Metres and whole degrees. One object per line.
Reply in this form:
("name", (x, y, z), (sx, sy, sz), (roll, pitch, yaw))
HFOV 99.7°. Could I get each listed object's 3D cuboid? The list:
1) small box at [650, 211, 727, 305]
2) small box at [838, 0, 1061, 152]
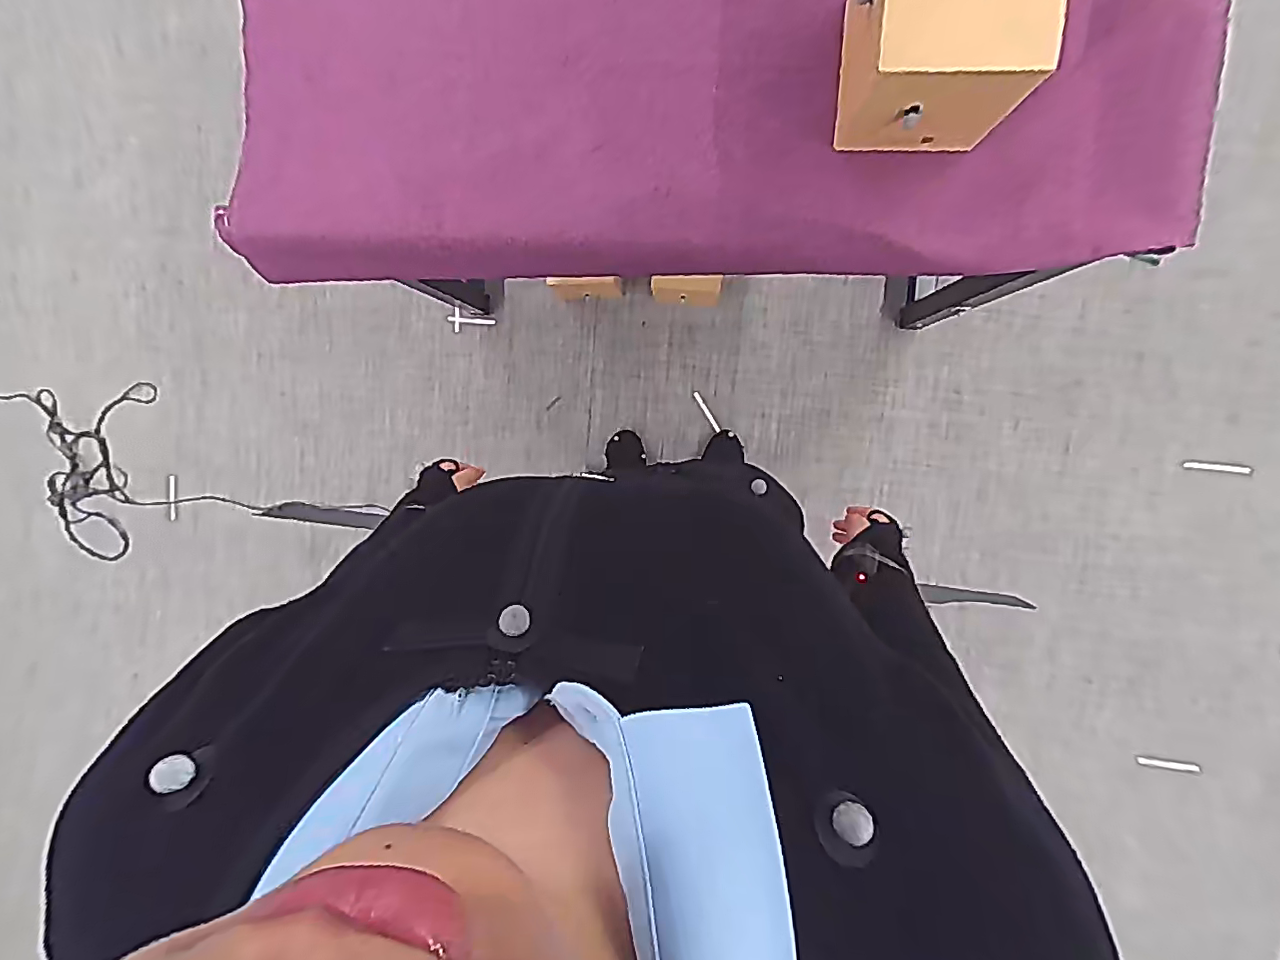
("small box", (0.120, -0.541, 1.341), (0.168, 0.176, 0.179), (6, 97, 4))
("small box", (0.324, -0.486, 0.591), (0.168, 0.176, 0.179), (3, 97, 5))
